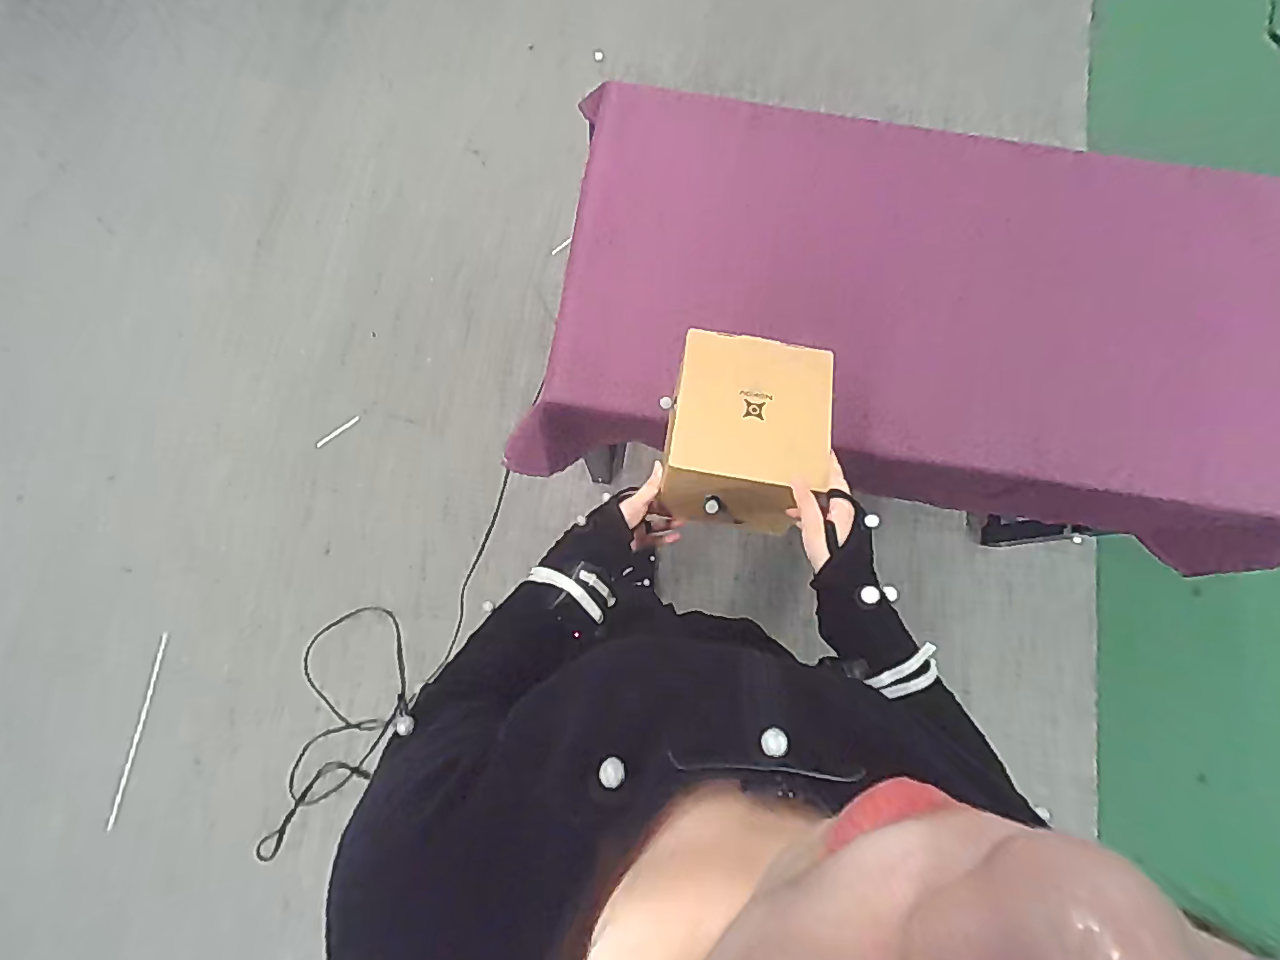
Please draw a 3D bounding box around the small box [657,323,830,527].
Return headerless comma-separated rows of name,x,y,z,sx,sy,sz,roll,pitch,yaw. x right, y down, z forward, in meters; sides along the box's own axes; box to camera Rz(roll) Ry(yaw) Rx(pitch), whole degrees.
small box,0.115,-0.055,0.647,0.168,0.176,0.179,9,67,2
